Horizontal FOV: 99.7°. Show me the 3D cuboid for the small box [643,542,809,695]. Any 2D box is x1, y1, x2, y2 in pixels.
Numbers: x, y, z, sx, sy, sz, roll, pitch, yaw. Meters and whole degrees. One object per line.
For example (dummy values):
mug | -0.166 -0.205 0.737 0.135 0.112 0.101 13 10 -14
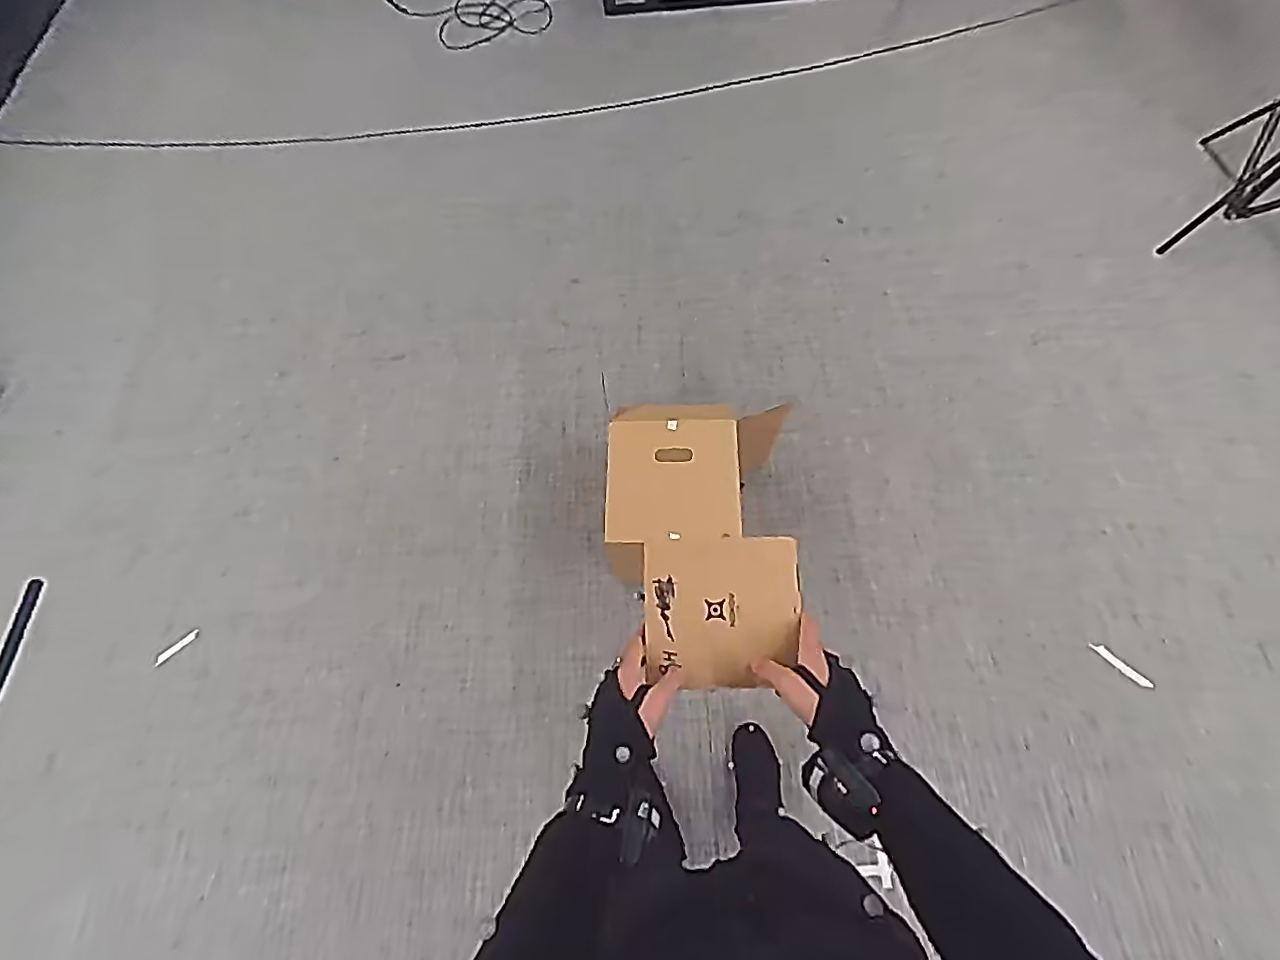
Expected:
small box | 0.093 0.167 0.671 0.179 0.176 0.168 -1 76 0
